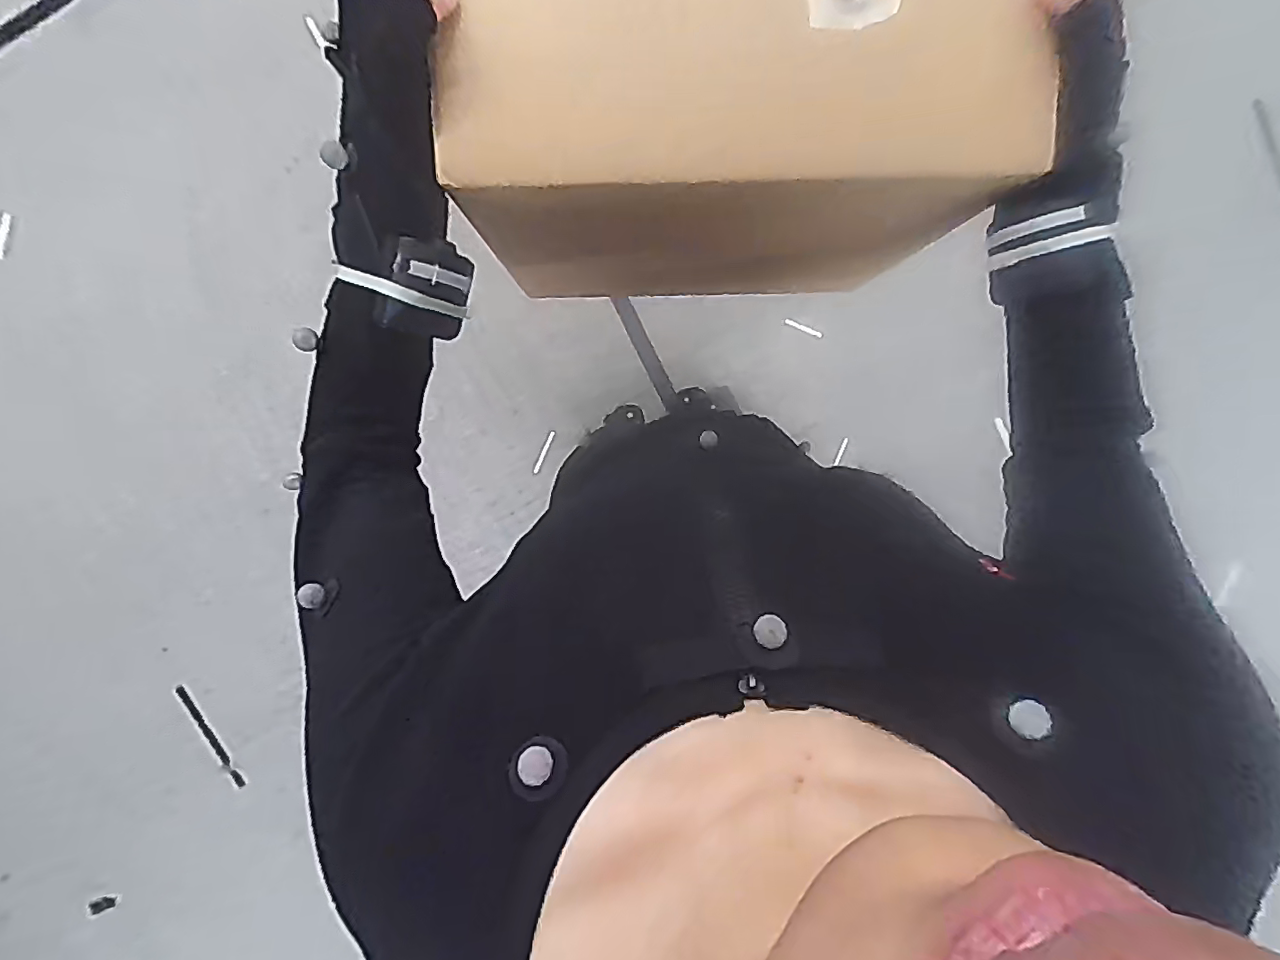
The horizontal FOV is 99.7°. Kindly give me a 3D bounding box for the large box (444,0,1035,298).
[{"bbox_3d":[0.061,-0.370,0.507,0.408,0.320,0.320,-2,95,-1],"label":"large box"}]

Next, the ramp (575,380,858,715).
[{"bbox_3d":[0.264,0.250,1.619,0.509,0.206,0.991,-30,97,3],"label":"ramp"}]
